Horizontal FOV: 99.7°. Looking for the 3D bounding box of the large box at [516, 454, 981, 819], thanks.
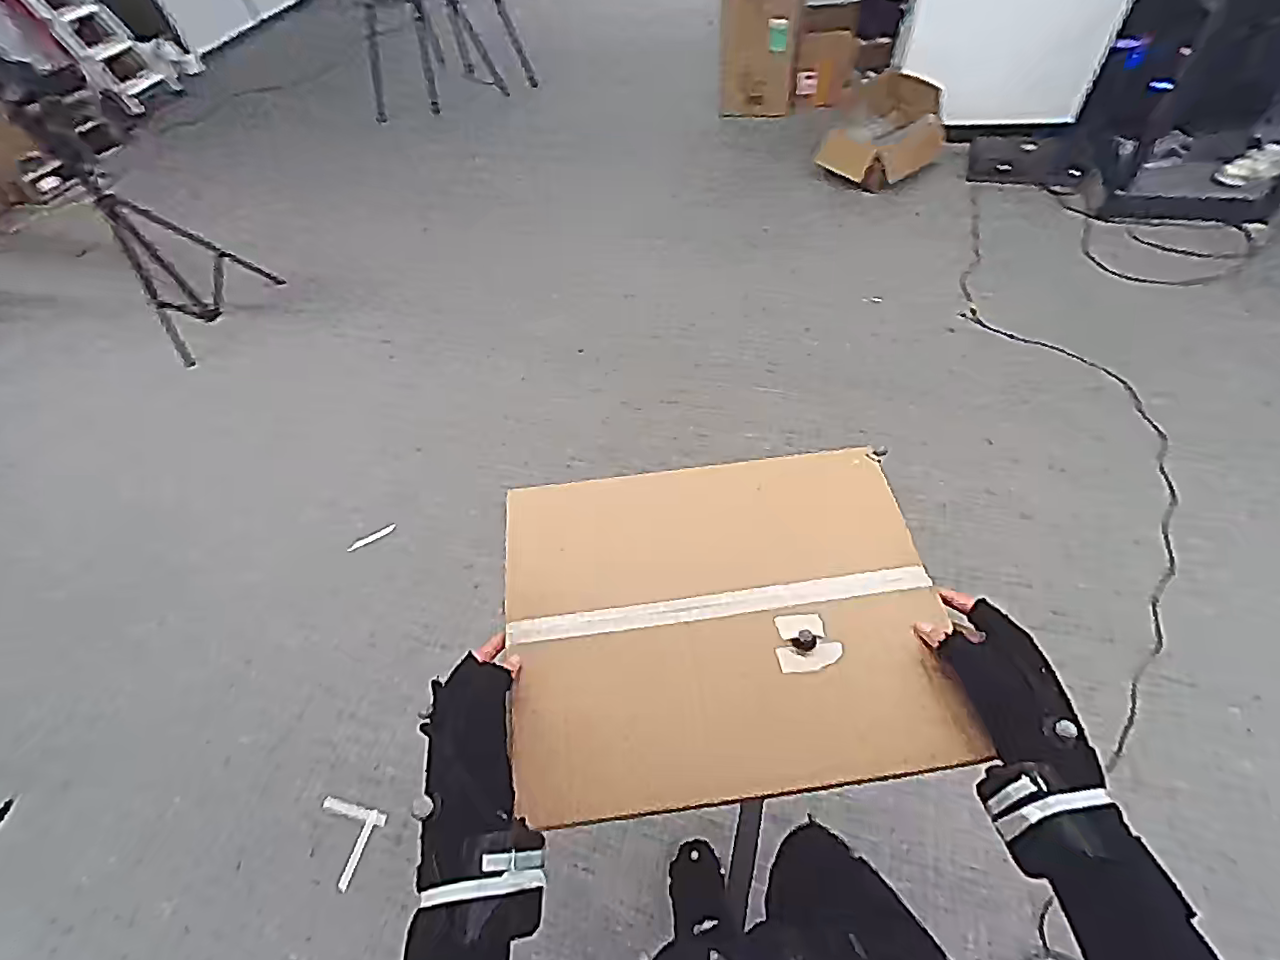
[{"bbox_3d":[0.081,0.201,0.654,0.408,0.320,0.320,-6,59,-2],"label":"large box"}]
